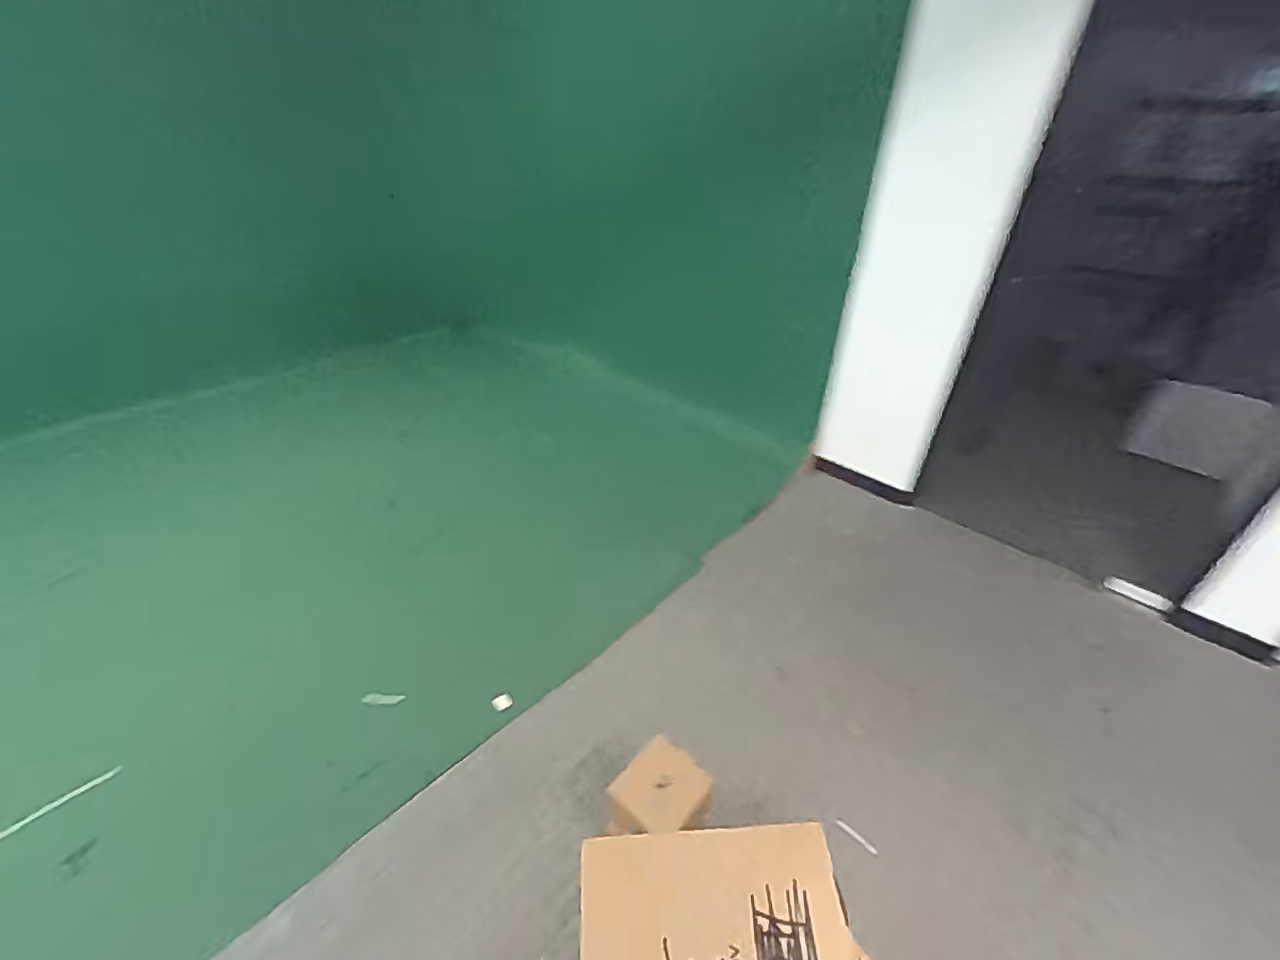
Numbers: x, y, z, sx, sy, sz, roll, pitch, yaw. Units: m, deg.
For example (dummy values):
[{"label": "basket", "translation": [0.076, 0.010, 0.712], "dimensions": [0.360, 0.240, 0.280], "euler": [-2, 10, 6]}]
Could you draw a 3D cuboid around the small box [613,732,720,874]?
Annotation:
[{"label": "small box", "translation": [0.054, 0.713, 1.200], "dimensions": [0.168, 0.176, 0.179], "euler": [27, 43, 33]}]

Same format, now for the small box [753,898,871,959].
[{"label": "small box", "translation": [0.309, 0.896, 0.945], "dimensions": [0.179, 0.176, 0.168], "euler": [-19, 40, -25]}]
